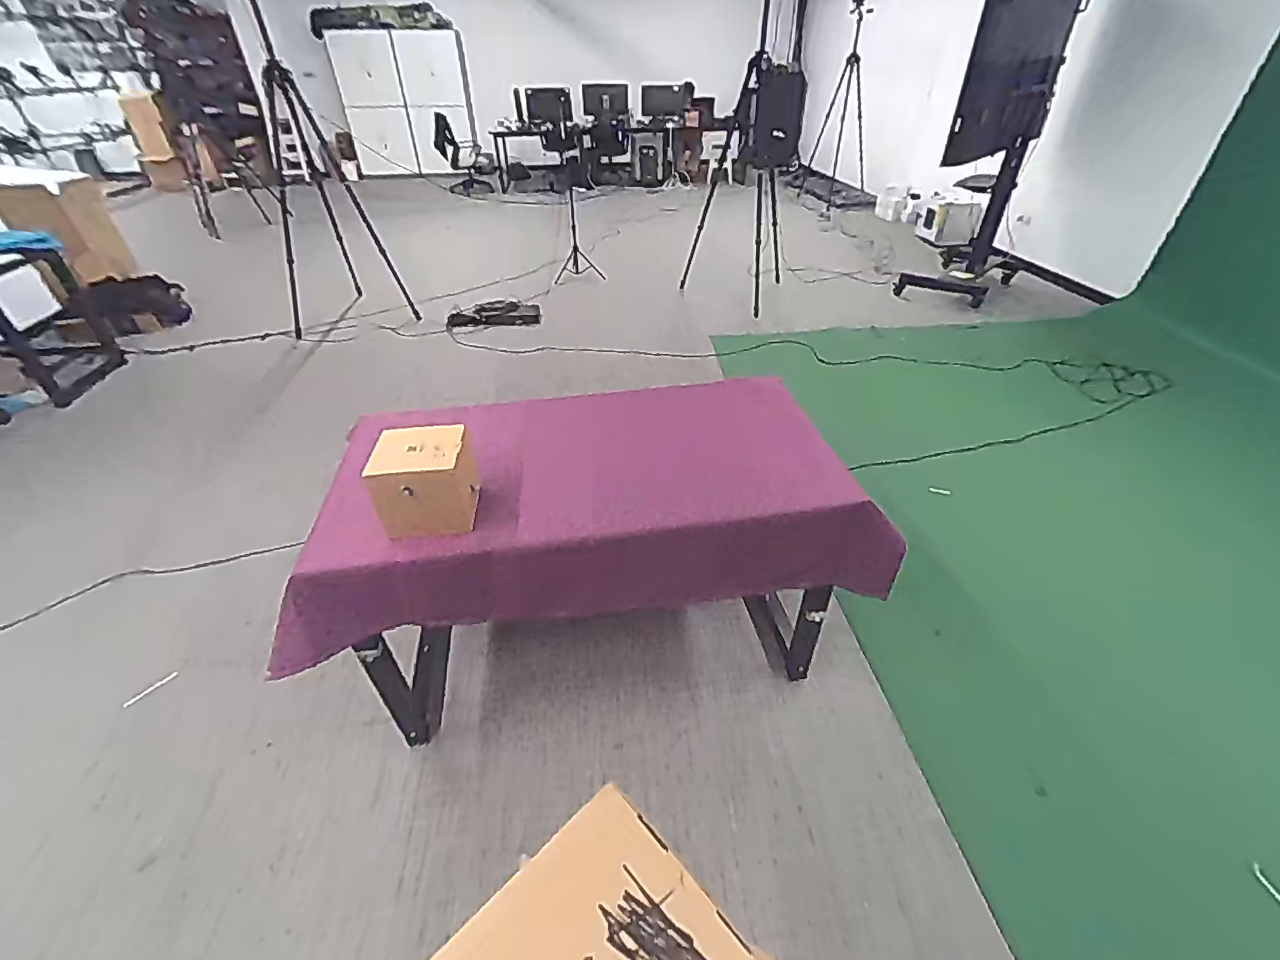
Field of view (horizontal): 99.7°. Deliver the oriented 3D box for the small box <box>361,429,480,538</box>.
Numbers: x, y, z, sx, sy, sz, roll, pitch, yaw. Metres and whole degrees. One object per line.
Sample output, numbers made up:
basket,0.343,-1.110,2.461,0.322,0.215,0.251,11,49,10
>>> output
small box,-0.451,0.009,1.143,0.179,0.176,0.168,-4,38,-4
